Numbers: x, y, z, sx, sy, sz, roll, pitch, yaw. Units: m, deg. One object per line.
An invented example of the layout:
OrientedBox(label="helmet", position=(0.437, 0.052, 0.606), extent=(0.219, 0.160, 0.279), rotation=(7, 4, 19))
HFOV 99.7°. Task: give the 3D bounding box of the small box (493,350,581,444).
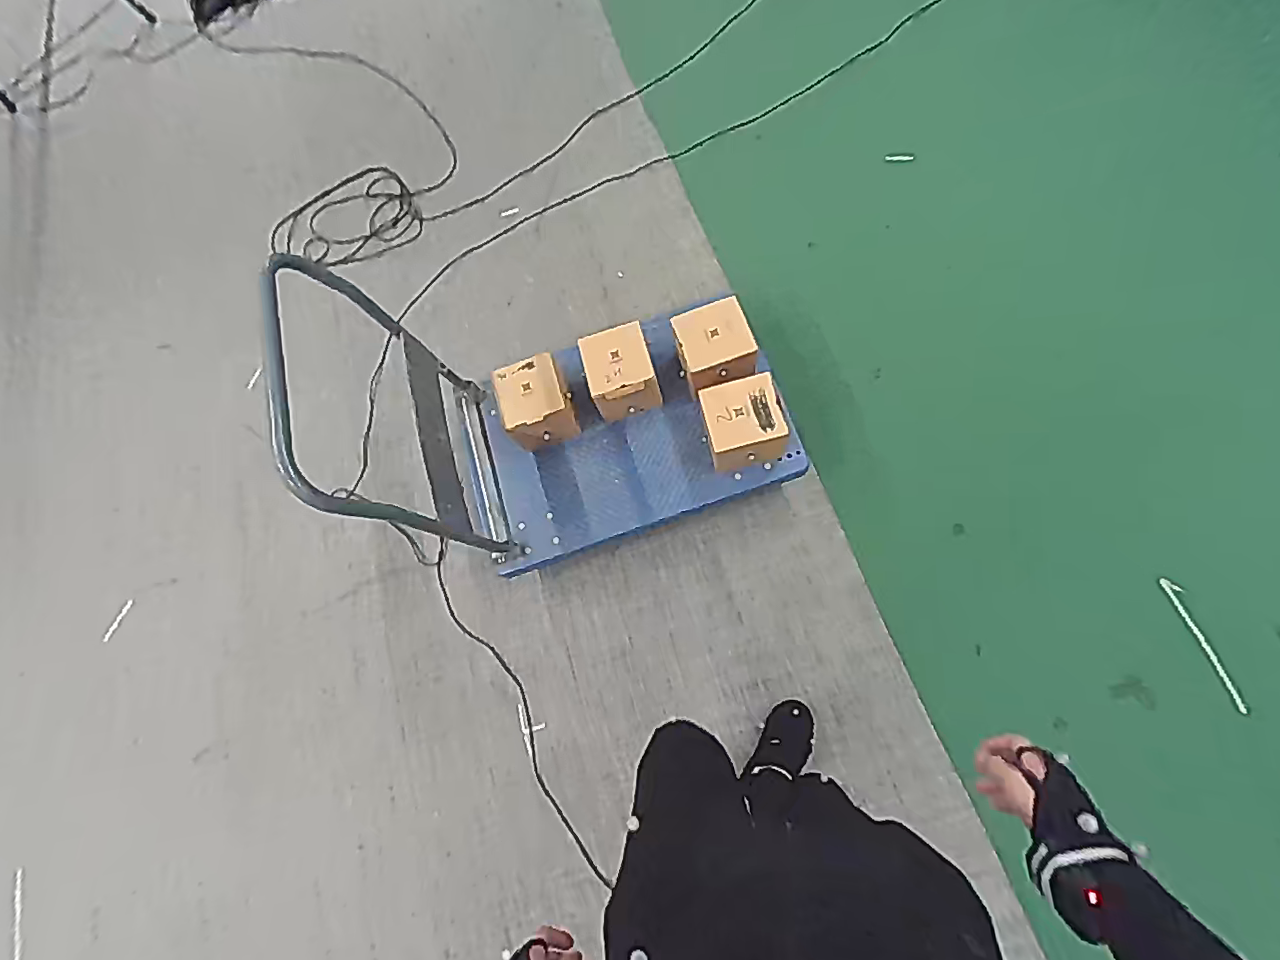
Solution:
OrientedBox(label="small box", position=(-0.268, -0.210, 1.436), extent=(0.168, 0.176, 0.179), rotation=(-17, 72, 3))

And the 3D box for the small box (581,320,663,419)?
OrientedBox(label="small box", position=(-0.044, -0.285, 1.424), extent=(0.168, 0.176, 0.179), rotation=(-16, 72, 4))

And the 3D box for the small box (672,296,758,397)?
OrientedBox(label="small box", position=(0.195, -0.337, 1.403), extent=(0.179, 0.176, 0.168), rotation=(-18, 72, 4))
